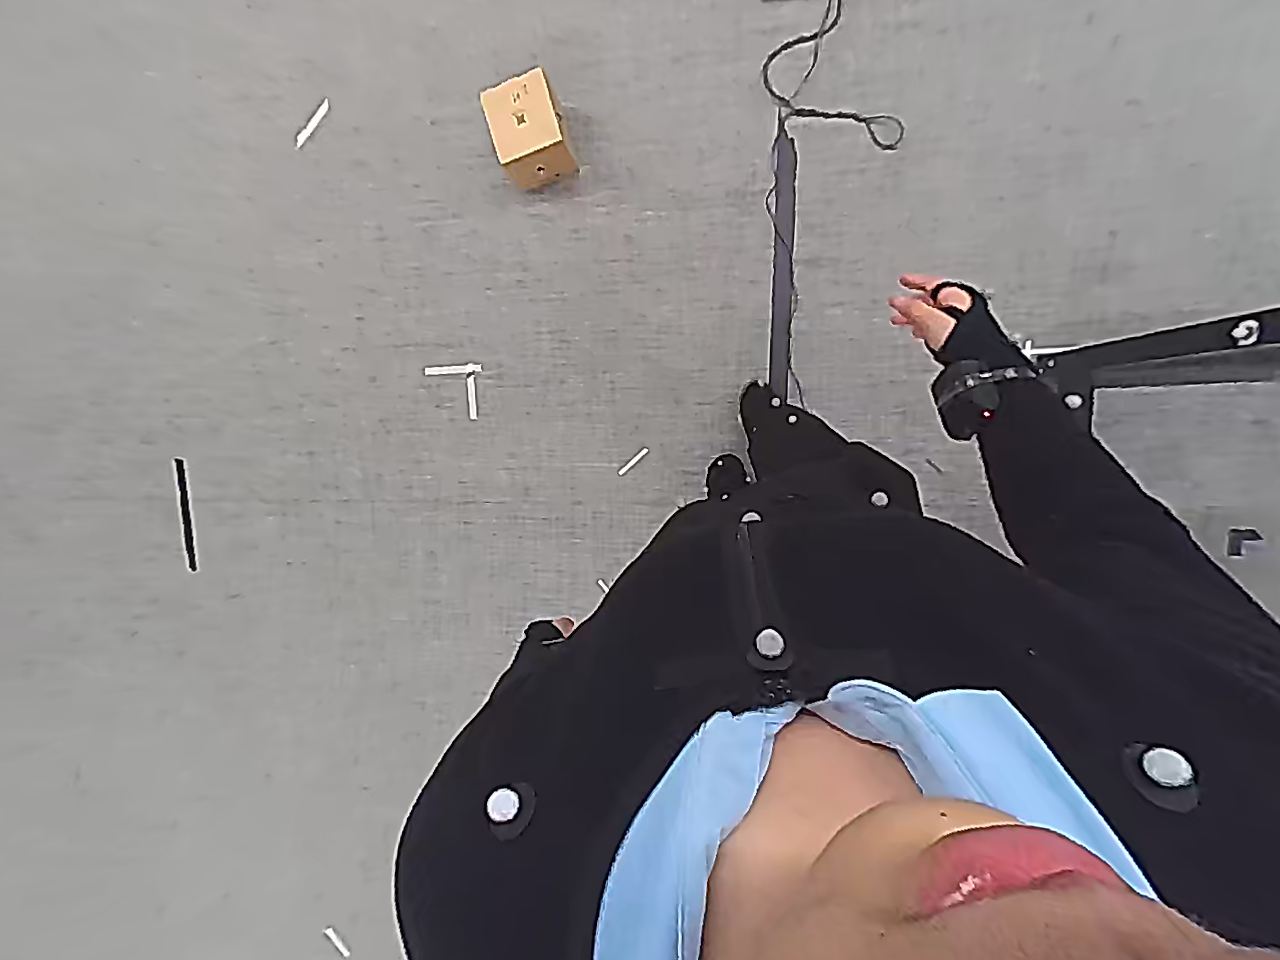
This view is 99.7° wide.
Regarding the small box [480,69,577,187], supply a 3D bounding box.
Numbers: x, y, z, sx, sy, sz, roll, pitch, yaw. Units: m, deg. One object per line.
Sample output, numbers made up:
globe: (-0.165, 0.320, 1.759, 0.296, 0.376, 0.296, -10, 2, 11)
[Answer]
small box: (-0.272, -0.872, 1.365, 0.168, 0.176, 0.179, -16, 94, 10)
